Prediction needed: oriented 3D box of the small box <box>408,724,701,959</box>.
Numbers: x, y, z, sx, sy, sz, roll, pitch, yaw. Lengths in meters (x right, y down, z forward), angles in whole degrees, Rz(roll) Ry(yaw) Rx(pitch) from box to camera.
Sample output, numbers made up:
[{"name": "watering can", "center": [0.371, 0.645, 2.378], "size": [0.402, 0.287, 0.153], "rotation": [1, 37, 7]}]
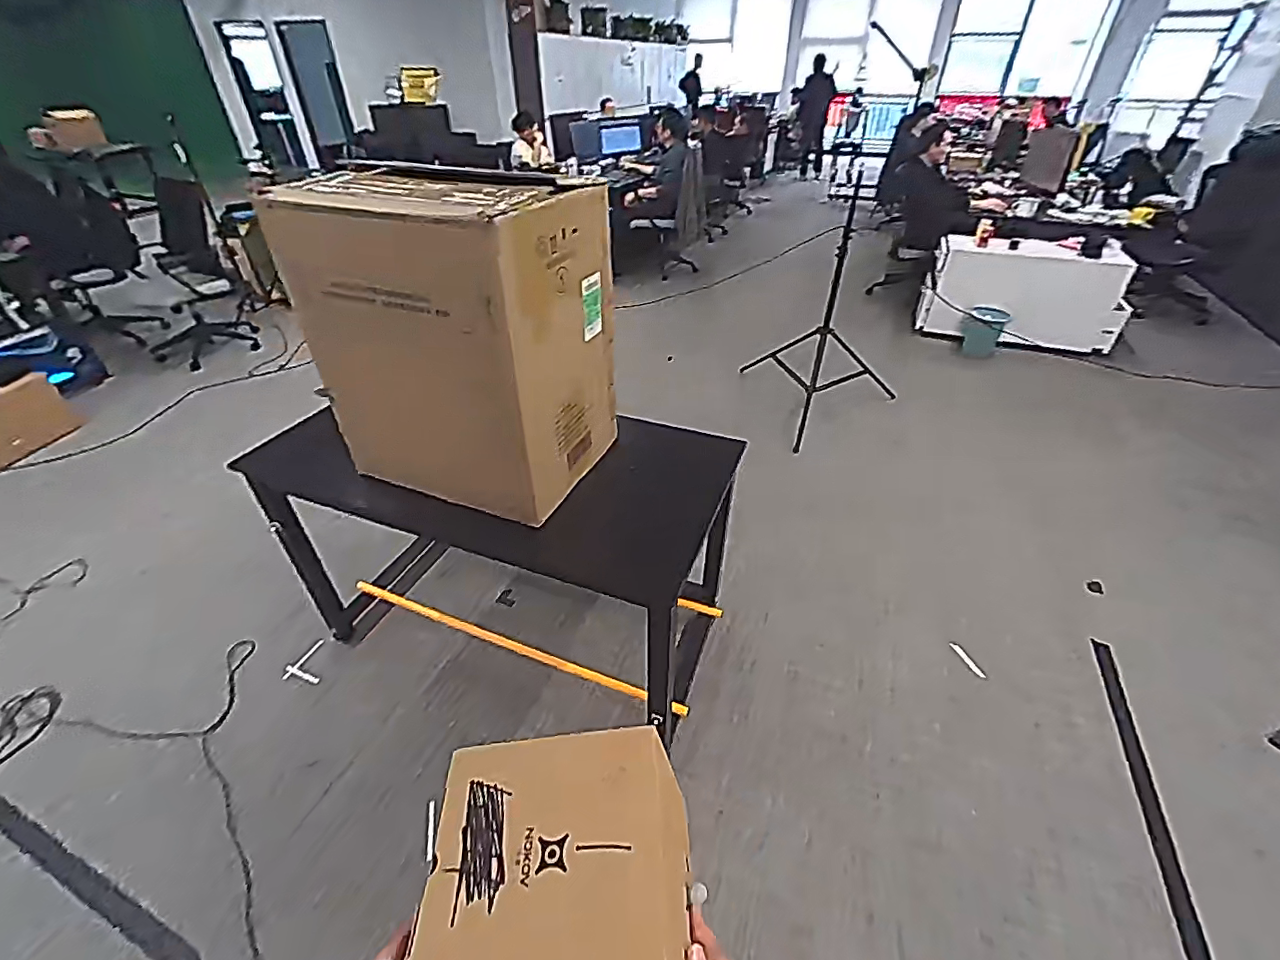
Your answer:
[{"name": "small box", "center": [-0.052, 0.324, 0.435], "size": [0.179, 0.176, 0.168], "rotation": [-10, 40, 5]}]
